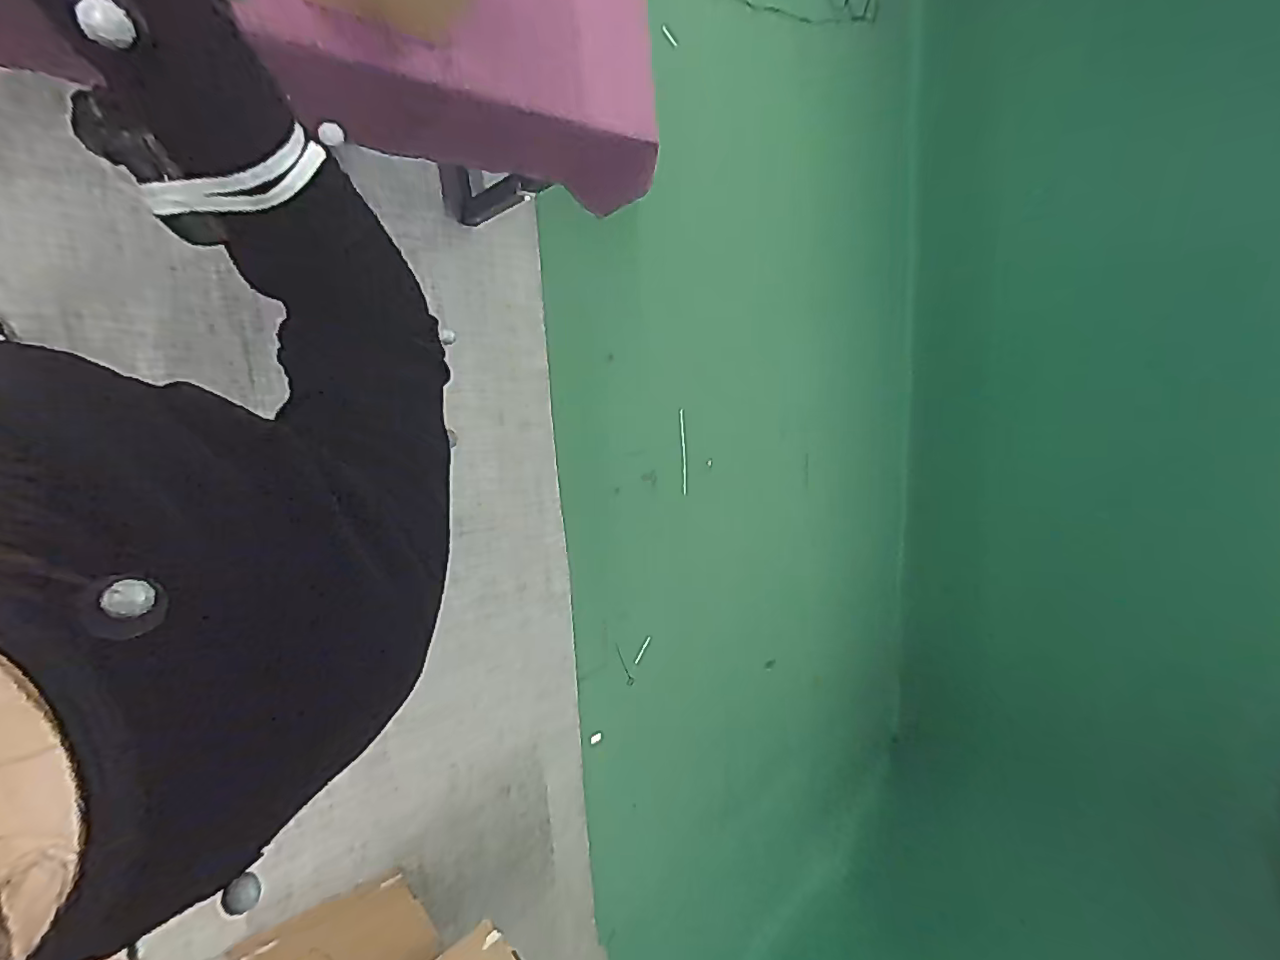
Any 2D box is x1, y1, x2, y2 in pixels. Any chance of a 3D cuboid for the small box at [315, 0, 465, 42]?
[{"bbox_3d":[-0.303,-0.671,0.640,0.179,0.176,0.168,-15,106,-43],"label":"small box"}]
